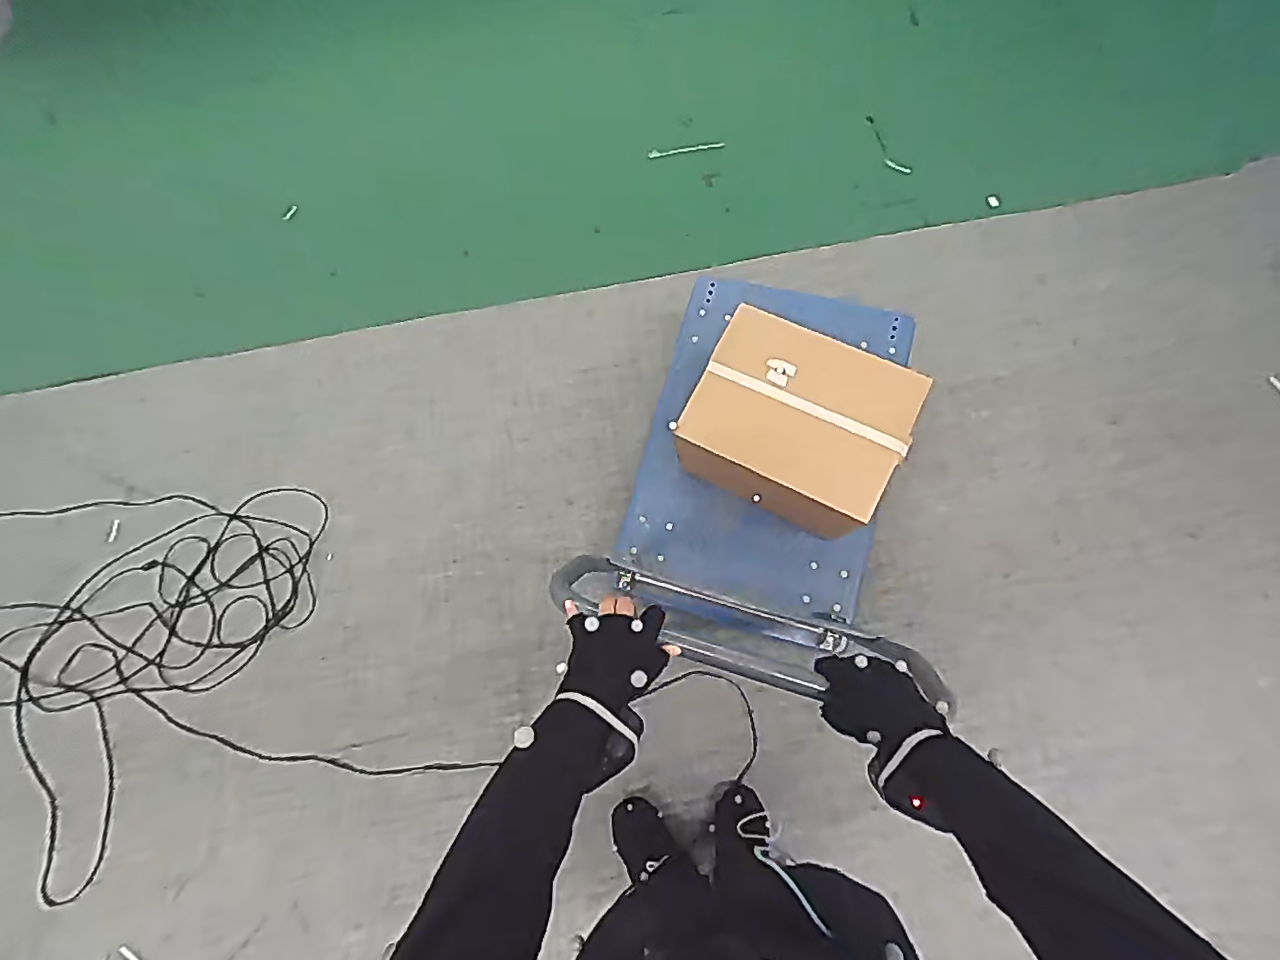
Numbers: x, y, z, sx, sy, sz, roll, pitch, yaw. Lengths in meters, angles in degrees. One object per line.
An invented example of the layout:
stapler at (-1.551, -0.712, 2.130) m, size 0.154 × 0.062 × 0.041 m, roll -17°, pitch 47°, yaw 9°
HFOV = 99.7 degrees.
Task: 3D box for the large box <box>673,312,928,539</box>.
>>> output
large box at (0.330, -0.101, 1.191) m, size 0.408 × 0.320 × 0.320 m, roll 26°, pitch 82°, yaw 13°
